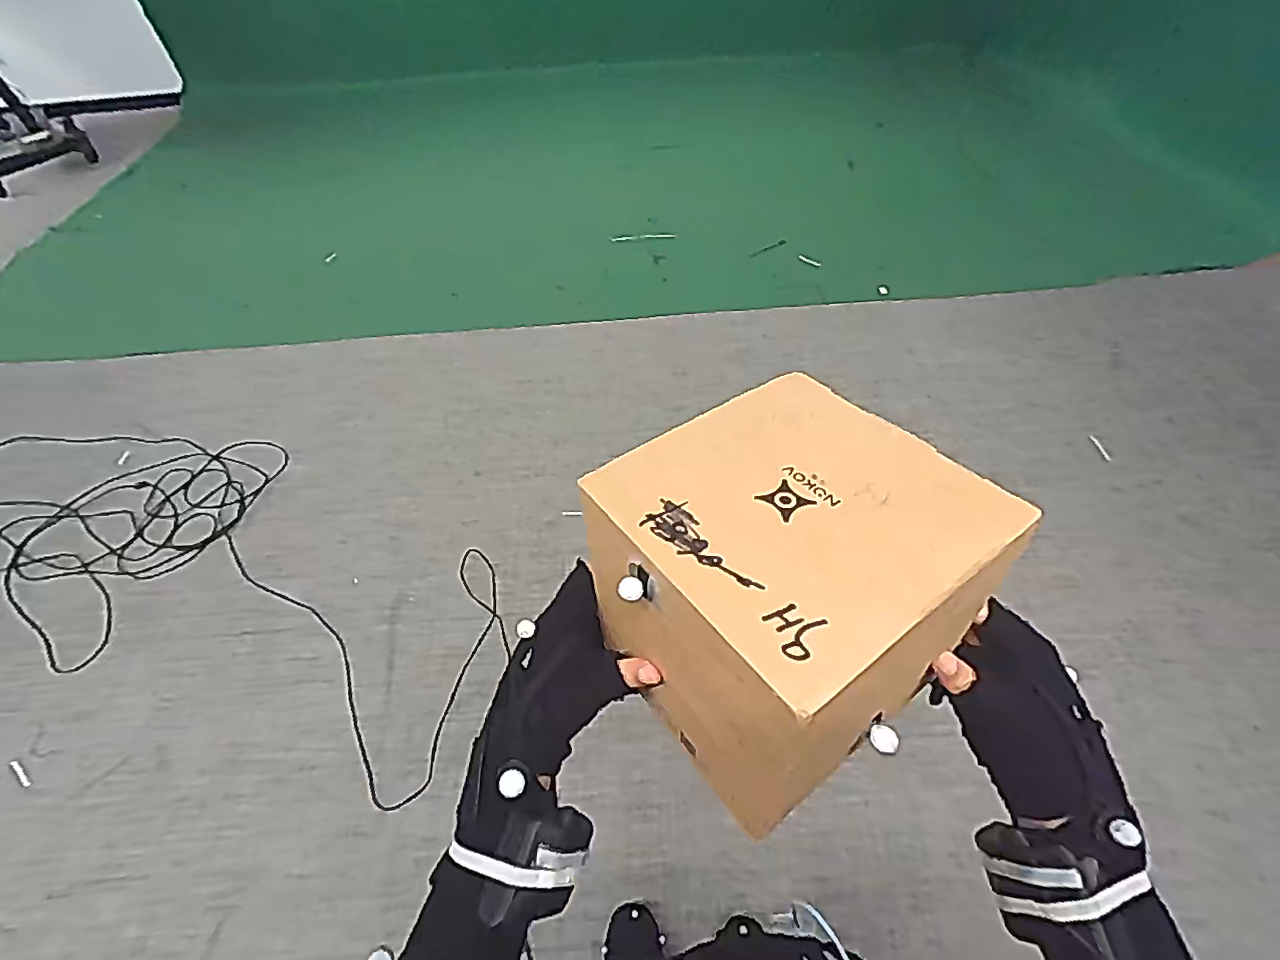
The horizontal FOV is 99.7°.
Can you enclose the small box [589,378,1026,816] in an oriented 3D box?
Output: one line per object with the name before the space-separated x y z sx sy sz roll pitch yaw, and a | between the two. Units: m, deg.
small box | 0.086 0.067 0.346 0.179 0.176 0.168 -27 48 -24
